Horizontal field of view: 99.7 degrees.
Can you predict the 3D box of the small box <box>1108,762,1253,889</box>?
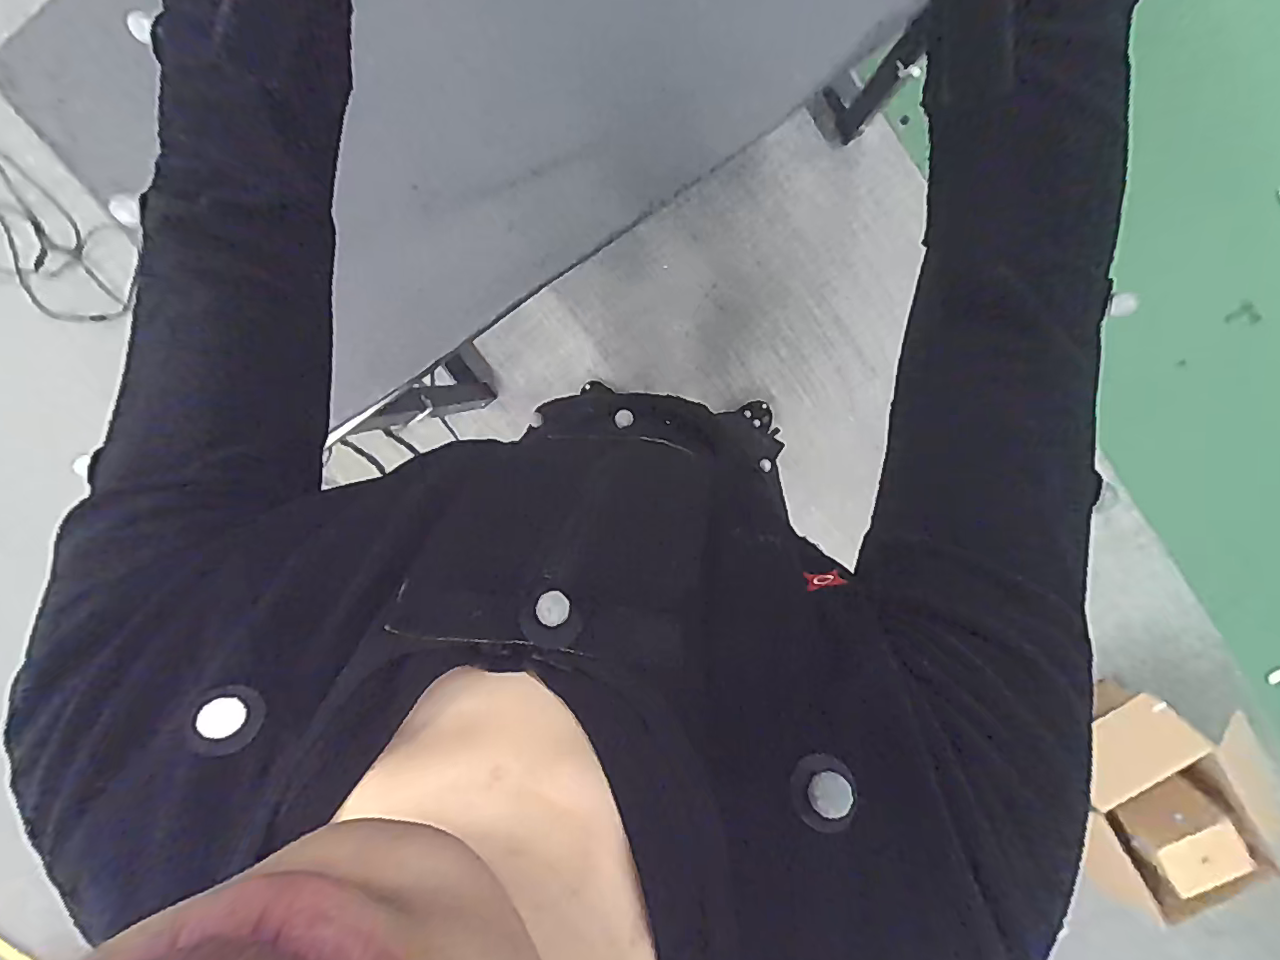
[{"bbox_3d":[1.327,0.852,1.347,0.179,0.176,0.168,-34,99,7],"label":"small box"}]
